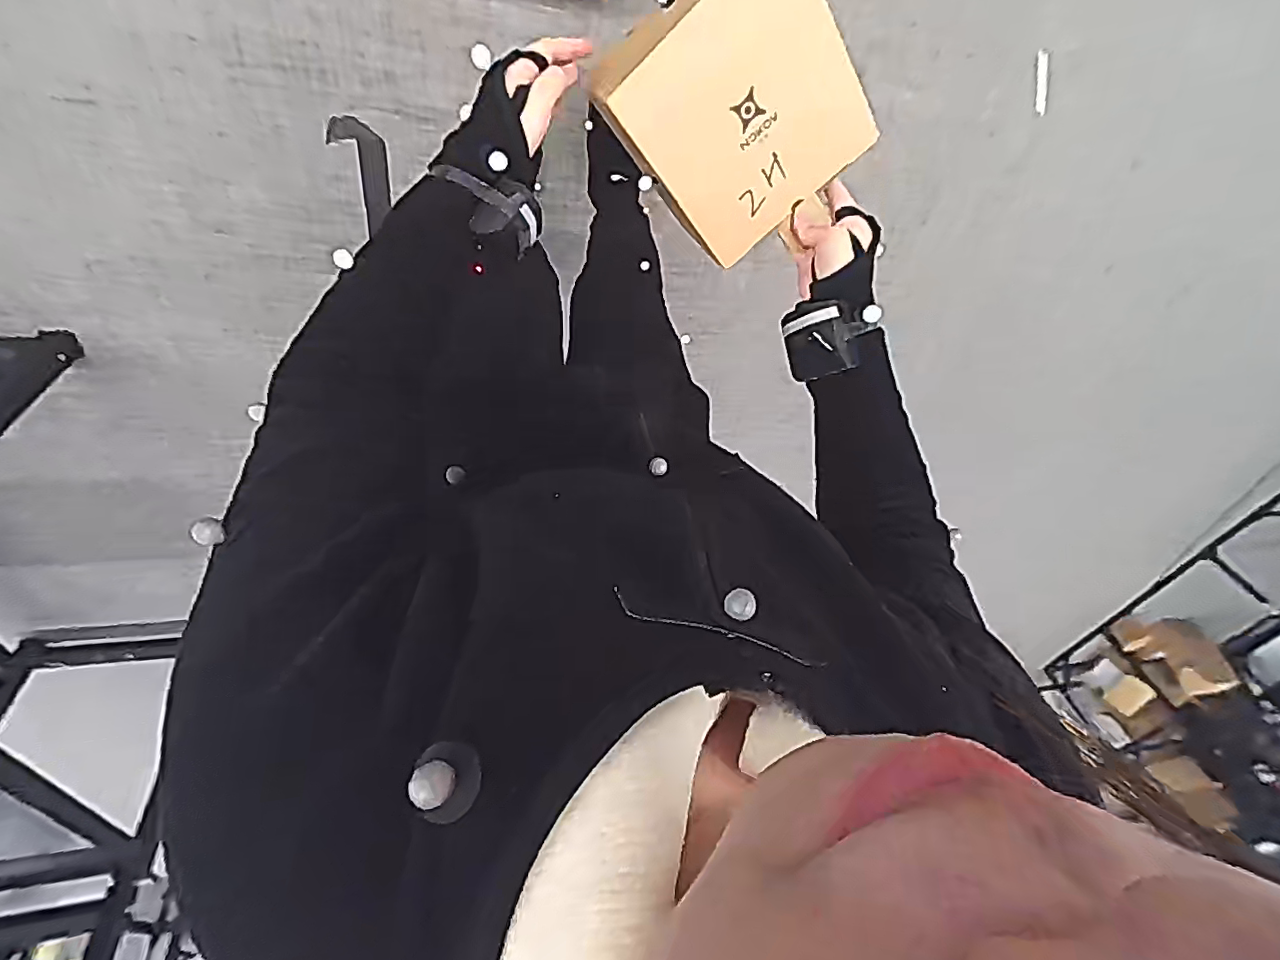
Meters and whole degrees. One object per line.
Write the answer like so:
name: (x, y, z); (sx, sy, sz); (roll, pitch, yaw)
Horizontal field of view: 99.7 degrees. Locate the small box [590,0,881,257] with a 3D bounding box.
small box: (0.073, -0.343, 0.486); (0.168, 0.176, 0.179); (-38, 128, 18)
